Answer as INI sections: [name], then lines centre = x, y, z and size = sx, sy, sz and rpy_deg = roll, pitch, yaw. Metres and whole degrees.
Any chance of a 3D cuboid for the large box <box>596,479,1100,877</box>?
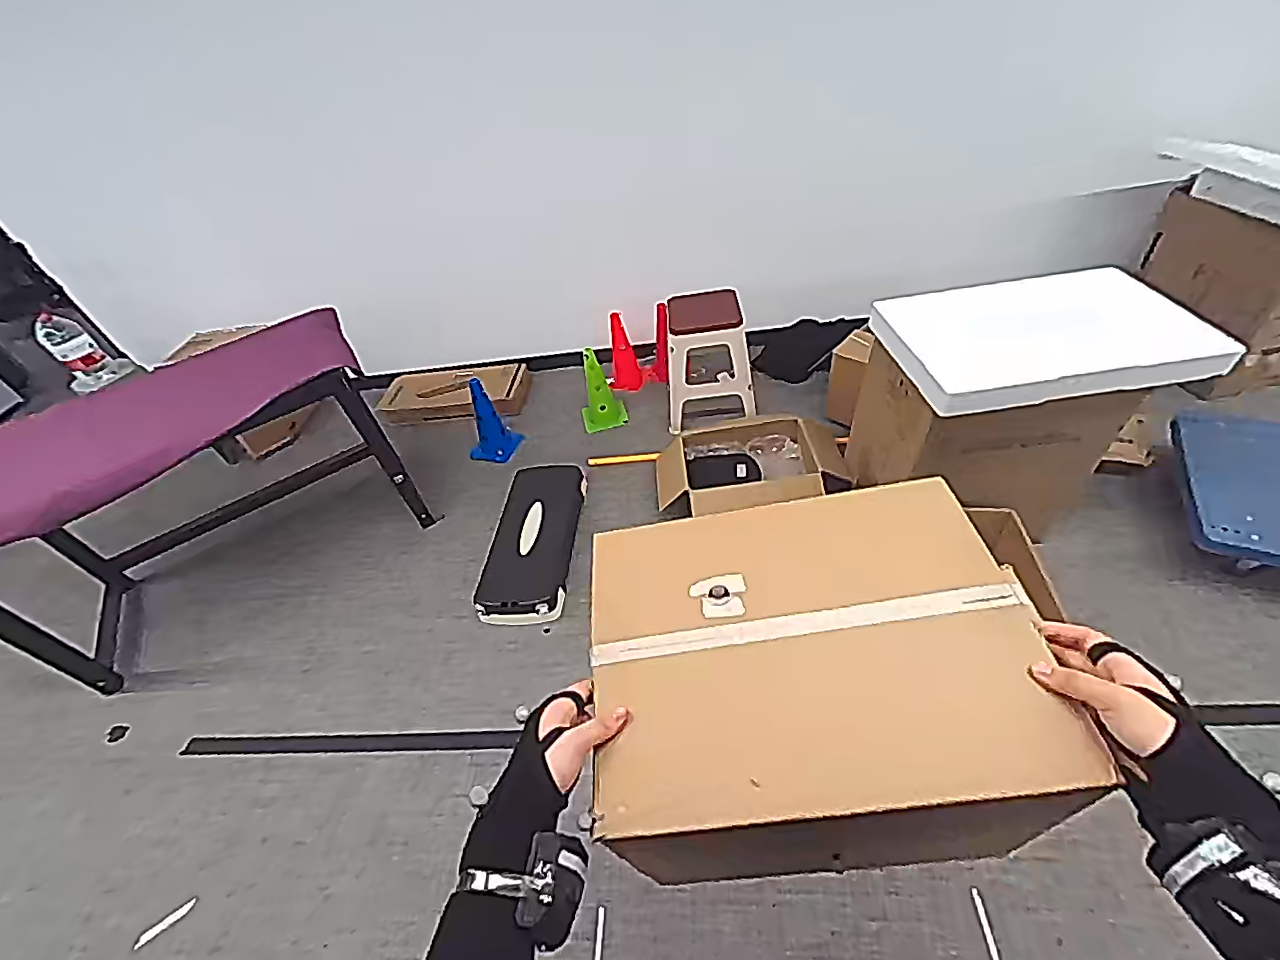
[large box]
centre = 0.185, 0.246, 0.640
size = 0.408, 0.320, 0.320
rpy_deg = -11, 45, 7
